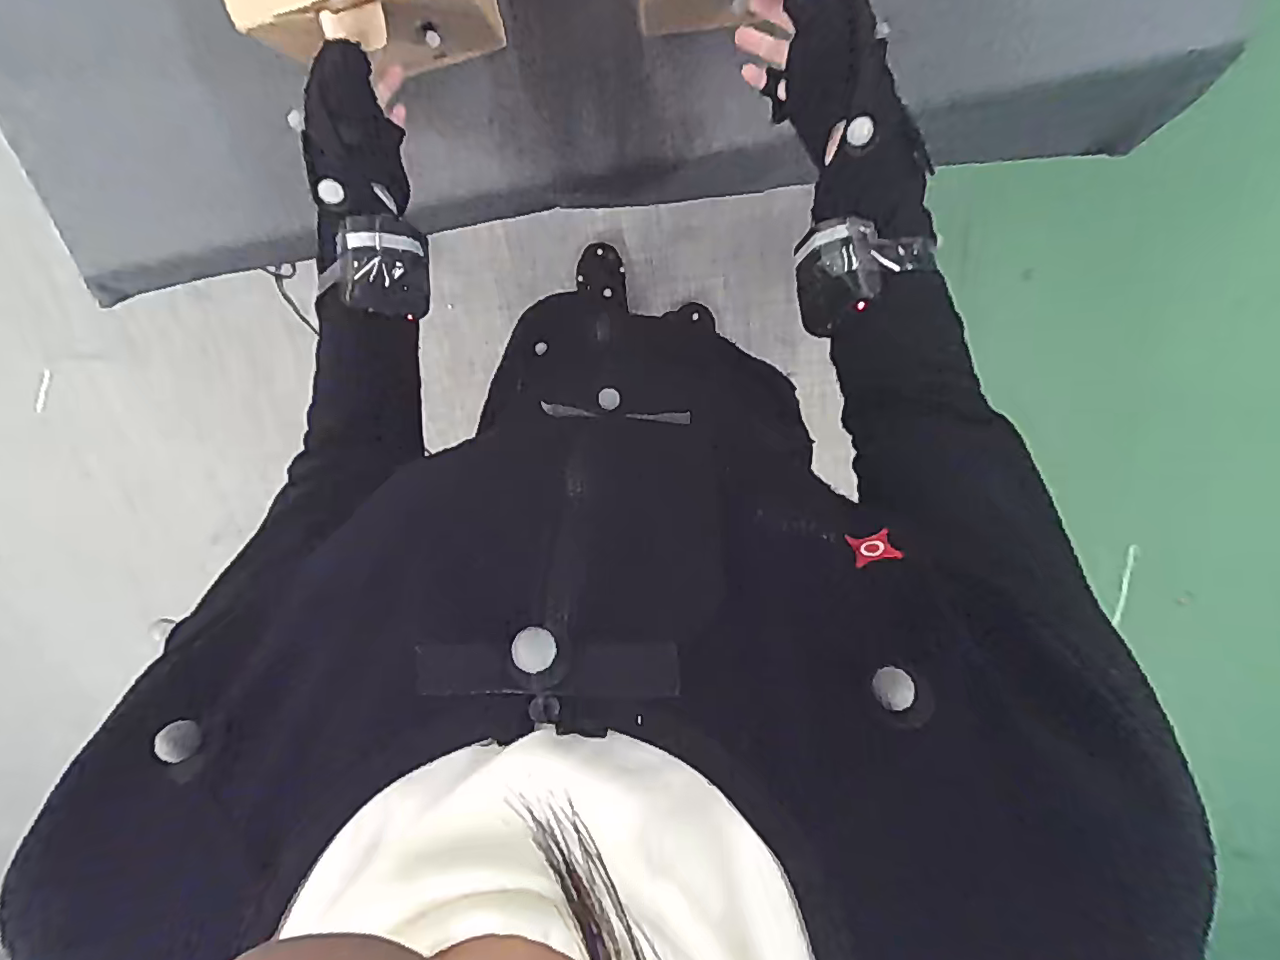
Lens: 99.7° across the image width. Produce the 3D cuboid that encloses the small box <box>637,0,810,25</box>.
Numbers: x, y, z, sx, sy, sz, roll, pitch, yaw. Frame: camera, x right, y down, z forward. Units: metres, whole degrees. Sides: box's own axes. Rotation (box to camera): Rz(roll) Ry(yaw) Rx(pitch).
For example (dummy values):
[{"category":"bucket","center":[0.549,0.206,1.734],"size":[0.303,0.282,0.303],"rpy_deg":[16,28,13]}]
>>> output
[{"category":"small box","center":[0.069,-0.477,0.405],"size":[0.168,0.176,0.179],"rpy_deg":[-5,114,4]}]

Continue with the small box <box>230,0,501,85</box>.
[{"category":"small box","center":[-0.230,-0.452,0.436],"size":[0.168,0.176,0.179],"rpy_deg":[-12,111,7]}]
